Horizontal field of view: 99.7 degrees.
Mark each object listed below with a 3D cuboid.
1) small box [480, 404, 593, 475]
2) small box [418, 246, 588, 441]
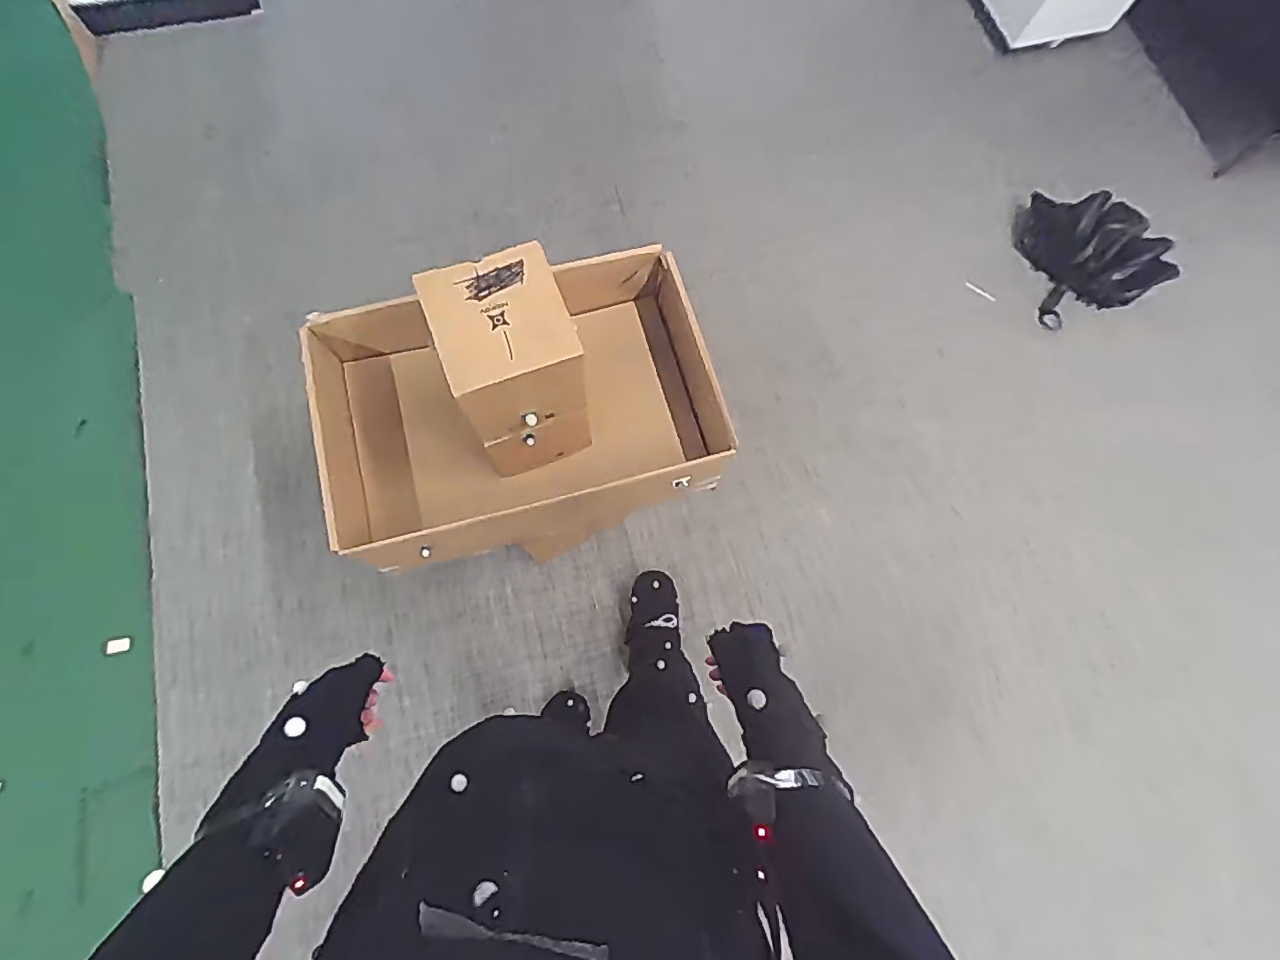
[{"bbox_3d":[-0.186,-0.131,0.903,0.168,0.176,0.179,-22,76,-8],"label":"small box"},{"bbox_3d":[-0.178,-0.179,0.746,0.168,0.176,0.179,-21,77,-8],"label":"small box"}]
